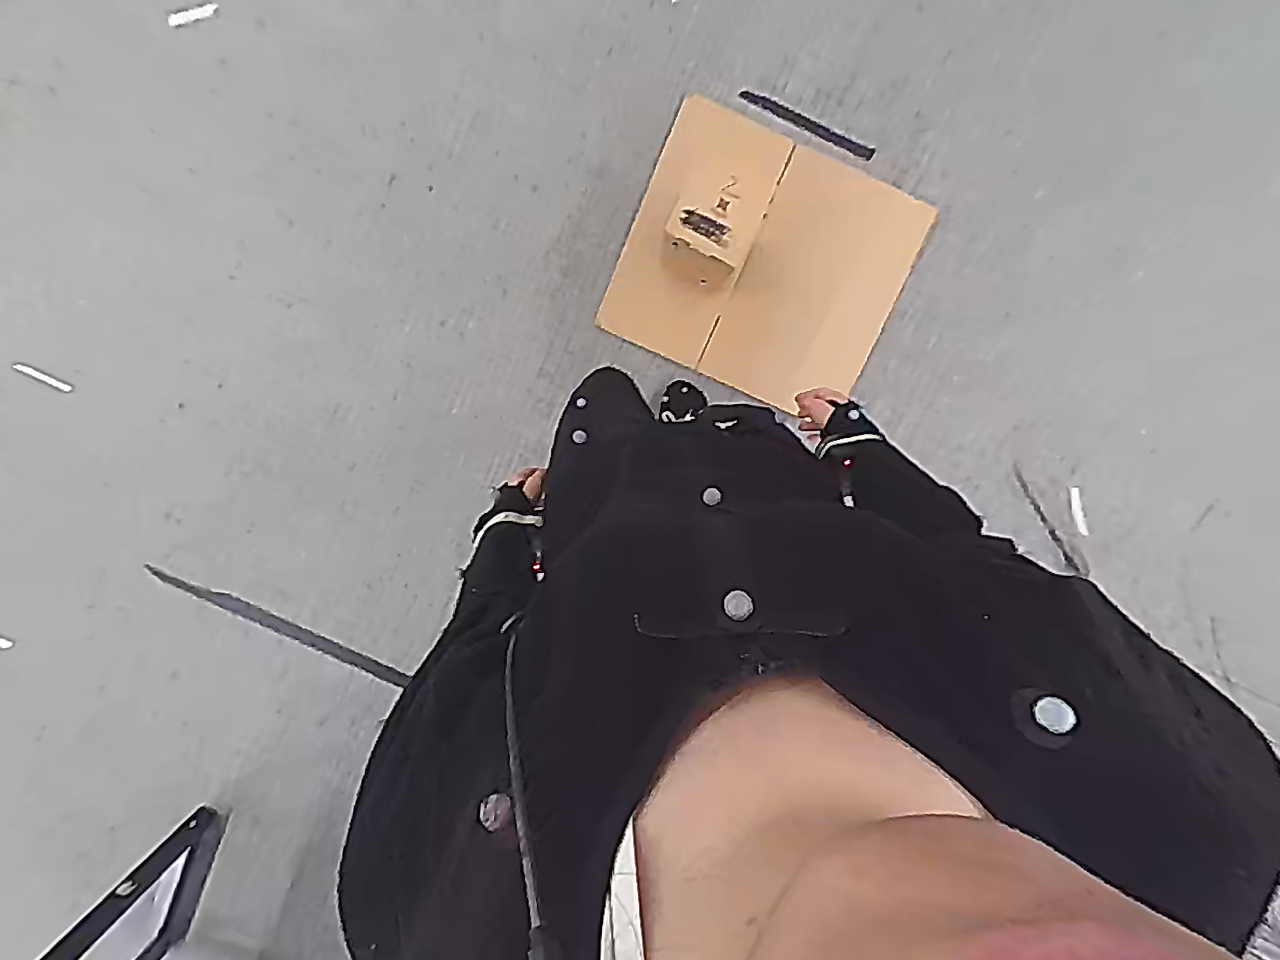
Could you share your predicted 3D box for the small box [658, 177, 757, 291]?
[{"bbox_3d":[0.154,-0.578,1.301,0.168,0.176,0.179,27,98,-5],"label":"small box"}]
